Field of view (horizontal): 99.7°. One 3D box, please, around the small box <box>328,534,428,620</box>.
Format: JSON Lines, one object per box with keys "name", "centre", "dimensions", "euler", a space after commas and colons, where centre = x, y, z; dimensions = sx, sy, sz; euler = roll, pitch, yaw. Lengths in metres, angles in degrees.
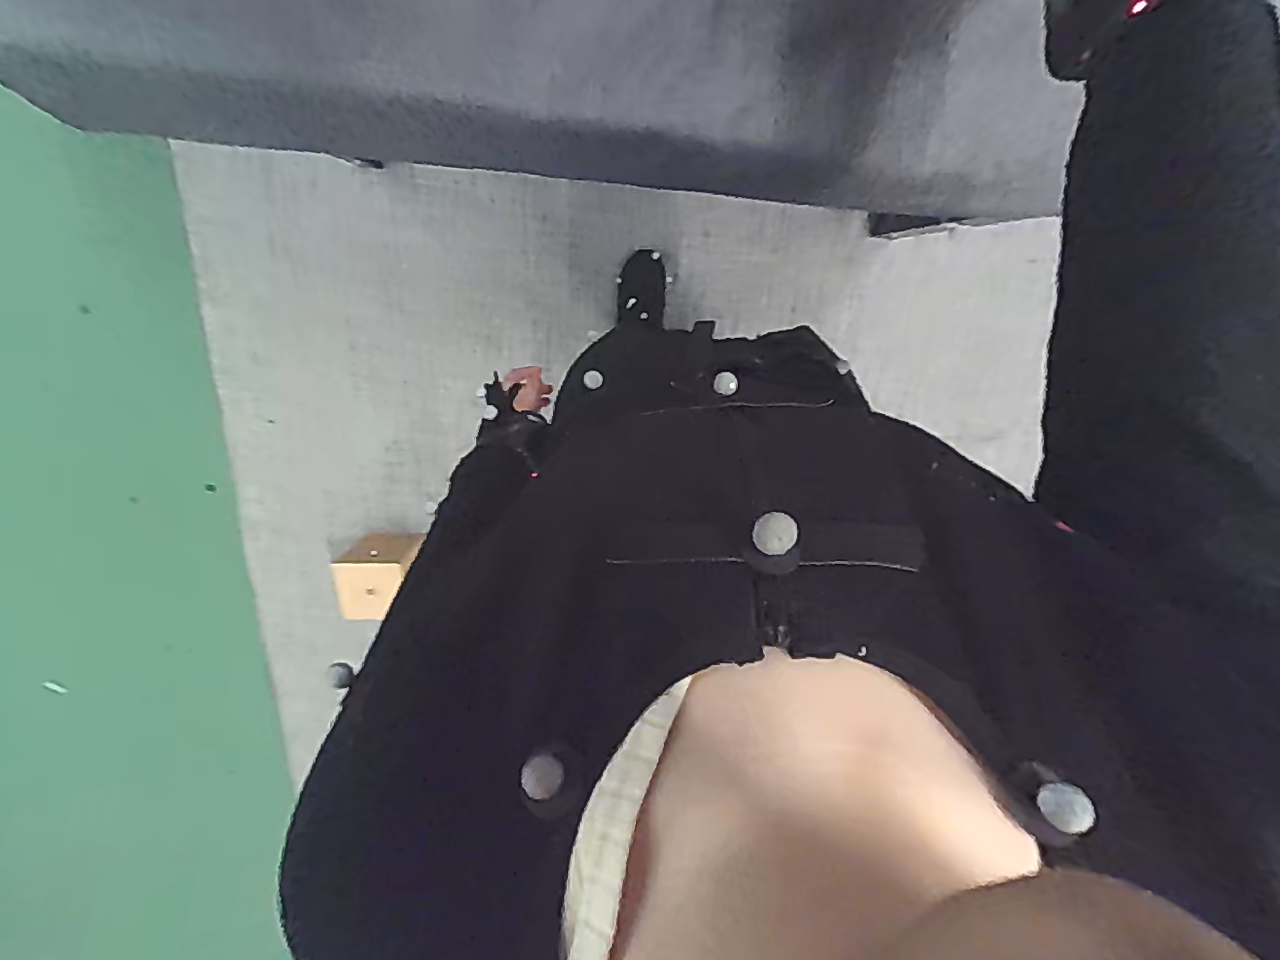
{"name": "small box", "centre": [-0.678, 0.251, 1.428], "dimensions": [0.179, 0.176, 0.168], "euler": [0, 110, 2]}
